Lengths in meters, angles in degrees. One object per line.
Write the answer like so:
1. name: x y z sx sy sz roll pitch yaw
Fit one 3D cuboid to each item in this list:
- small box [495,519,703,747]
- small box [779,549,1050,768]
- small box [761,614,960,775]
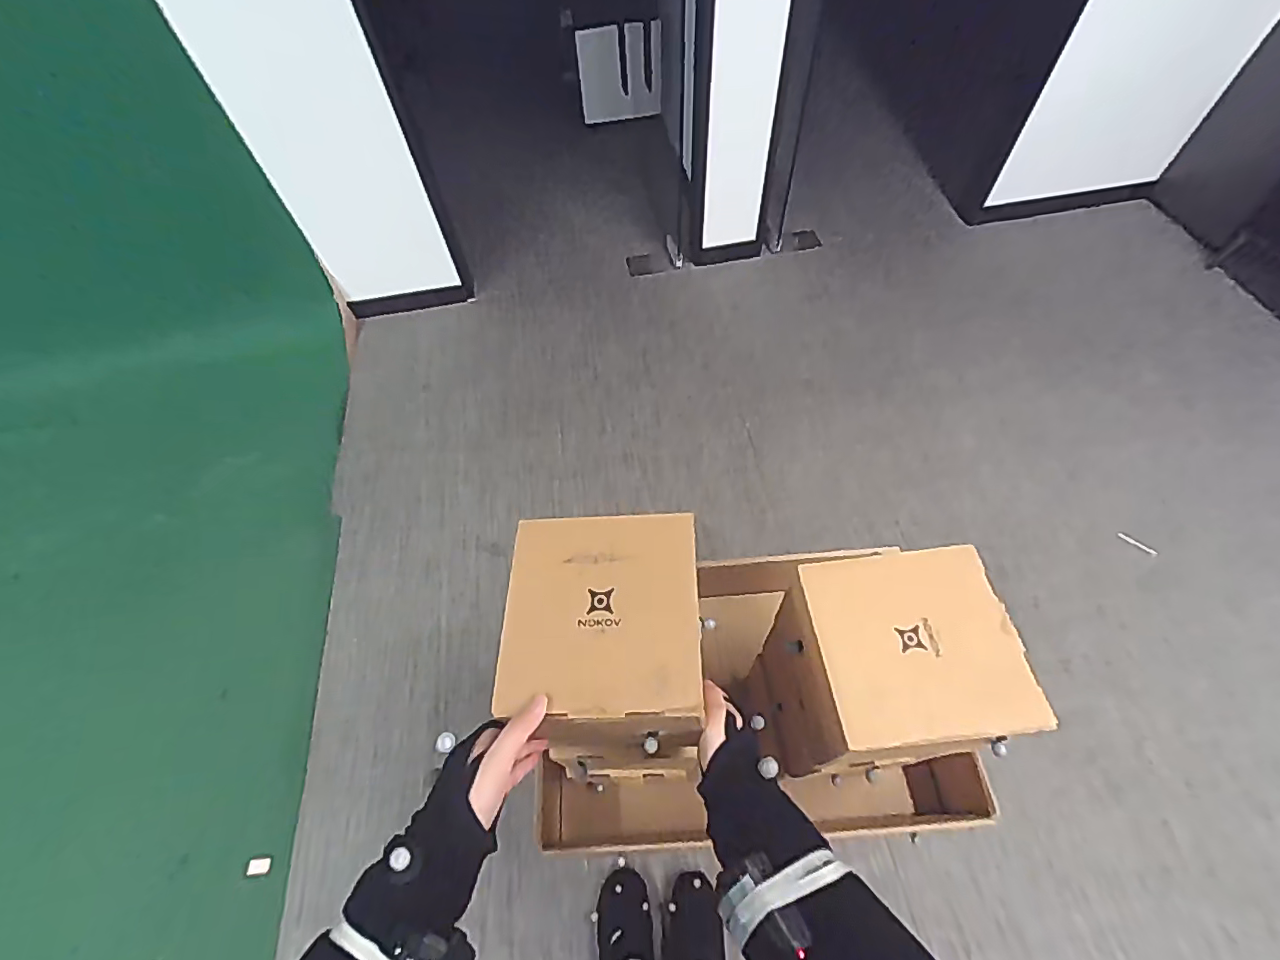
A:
1. small box: -0.024 0.154 0.524 0.168 0.176 0.179 -2 56 4
2. small box: 0.248 0.188 0.551 0.179 0.176 0.168 -6 58 -1
3. small box: 0.262 0.271 0.691 0.168 0.176 0.179 -7 59 -1
